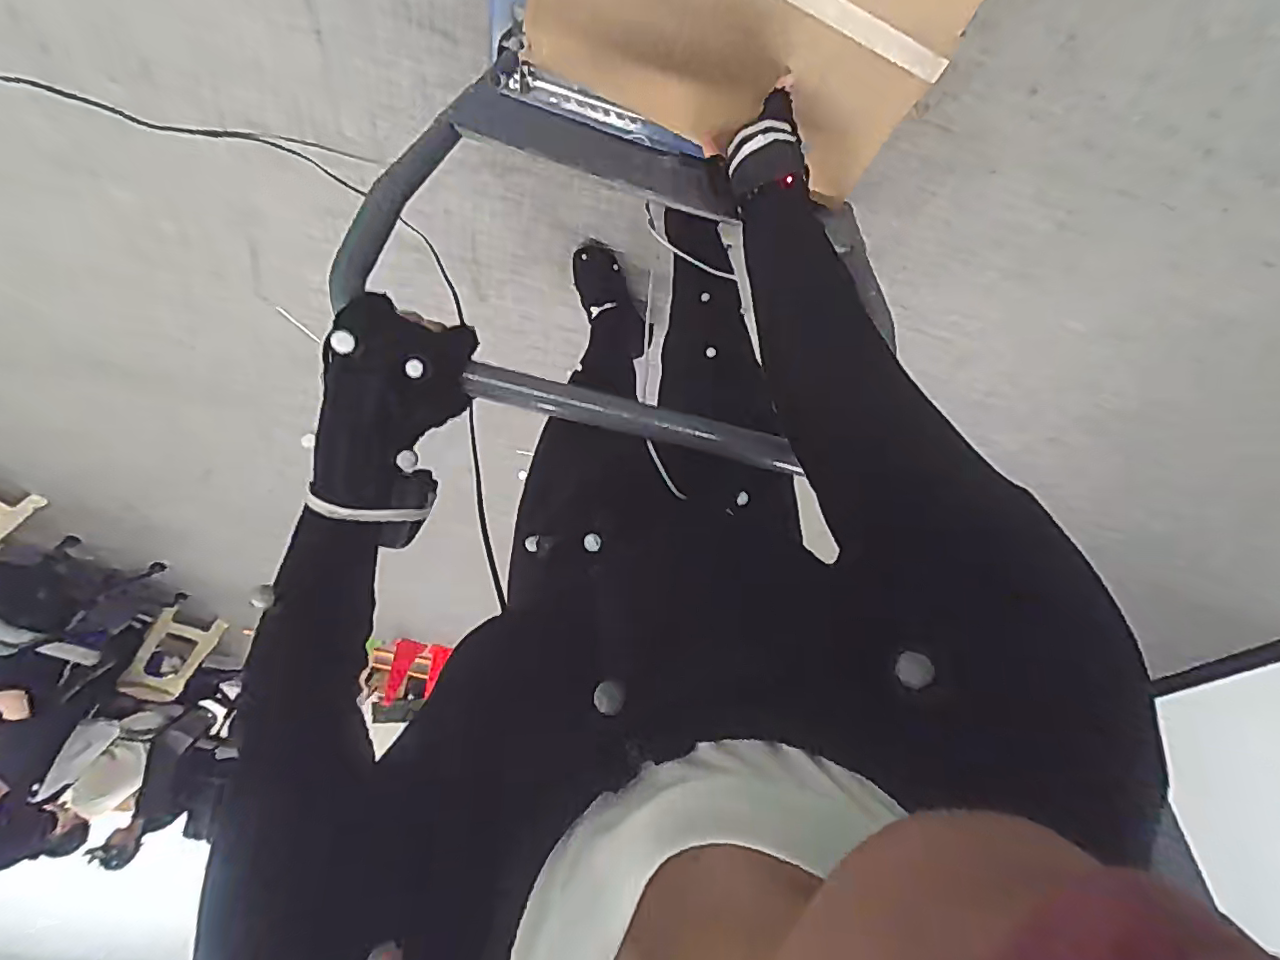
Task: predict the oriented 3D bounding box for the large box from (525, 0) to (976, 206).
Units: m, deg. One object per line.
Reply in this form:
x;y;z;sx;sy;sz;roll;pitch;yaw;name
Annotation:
0.129;-0.591;0.601;0.408;0.320;0.320;18;140;-12;large box
